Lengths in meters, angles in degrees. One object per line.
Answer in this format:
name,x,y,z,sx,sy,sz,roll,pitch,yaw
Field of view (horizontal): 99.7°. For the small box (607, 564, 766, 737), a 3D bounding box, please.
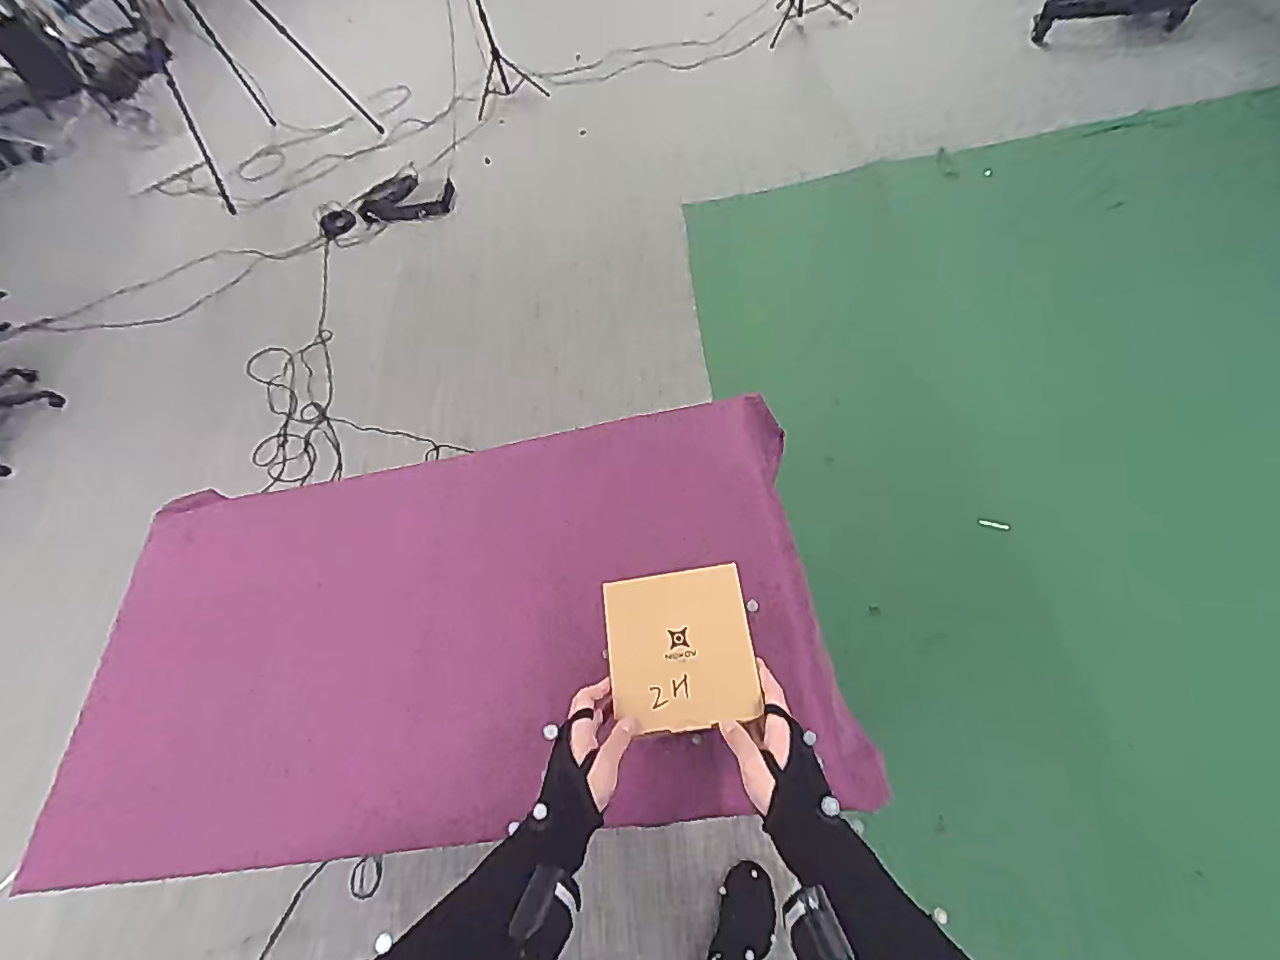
small box,0.058,0.224,0.690,0.168,0.176,0.179,-10,64,6
